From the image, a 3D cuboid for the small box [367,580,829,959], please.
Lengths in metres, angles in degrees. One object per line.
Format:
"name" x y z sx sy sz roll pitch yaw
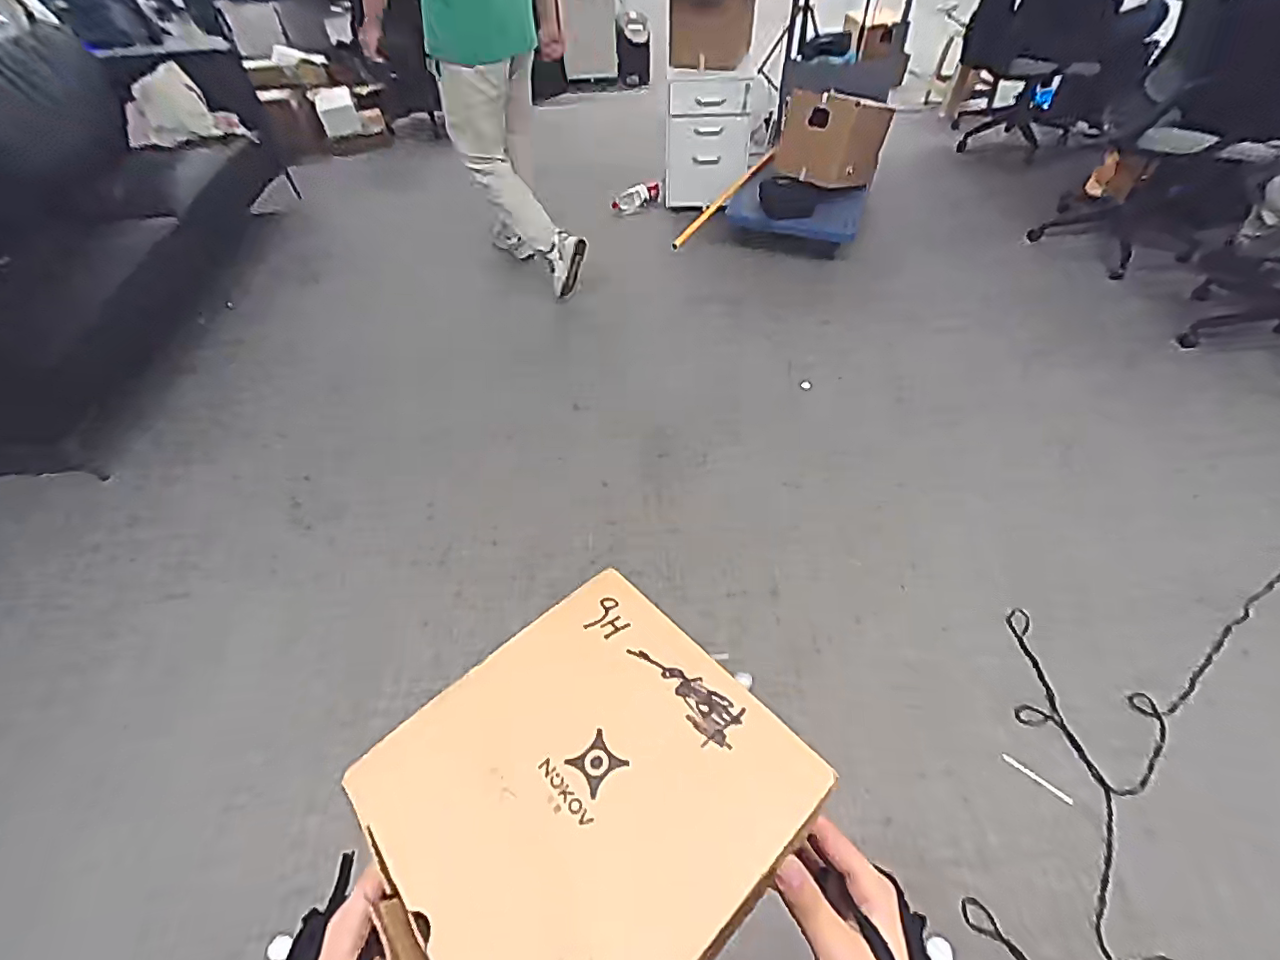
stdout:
"small box" -0.016 0.203 0.322 0.179 0.176 0.168 -36 52 -26
